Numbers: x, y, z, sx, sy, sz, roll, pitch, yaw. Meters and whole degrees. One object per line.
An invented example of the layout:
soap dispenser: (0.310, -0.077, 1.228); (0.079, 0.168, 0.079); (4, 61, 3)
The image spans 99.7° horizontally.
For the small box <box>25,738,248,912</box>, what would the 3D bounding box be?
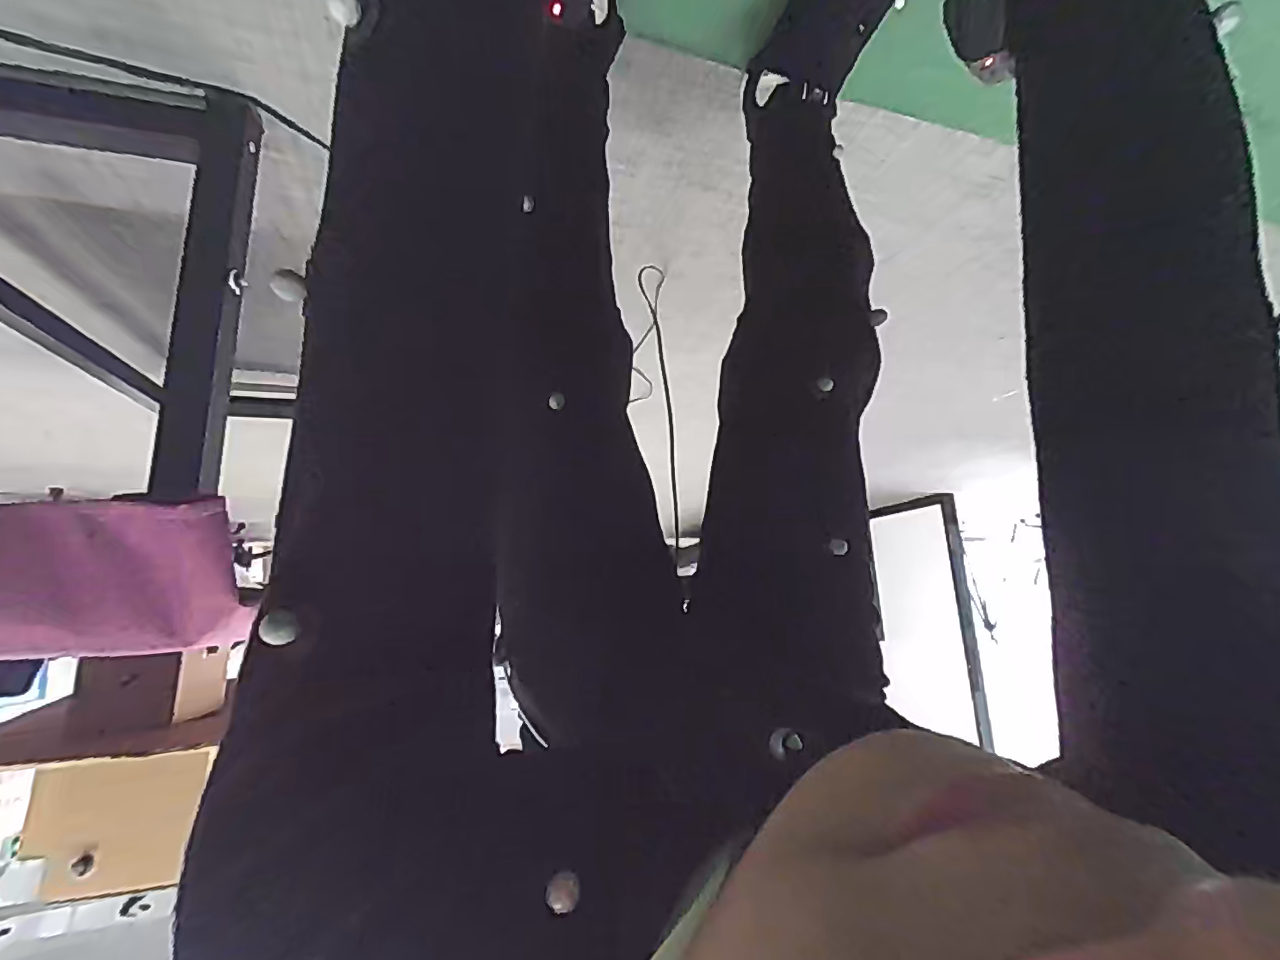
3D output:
small box: (-0.716, 0.487, 0.795); (0.179, 0.176, 0.168); (0, 165, -15)

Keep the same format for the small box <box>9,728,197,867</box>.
small box: (-0.922, 0.542, 0.953); (0.179, 0.176, 0.168); (1, 164, -14)
